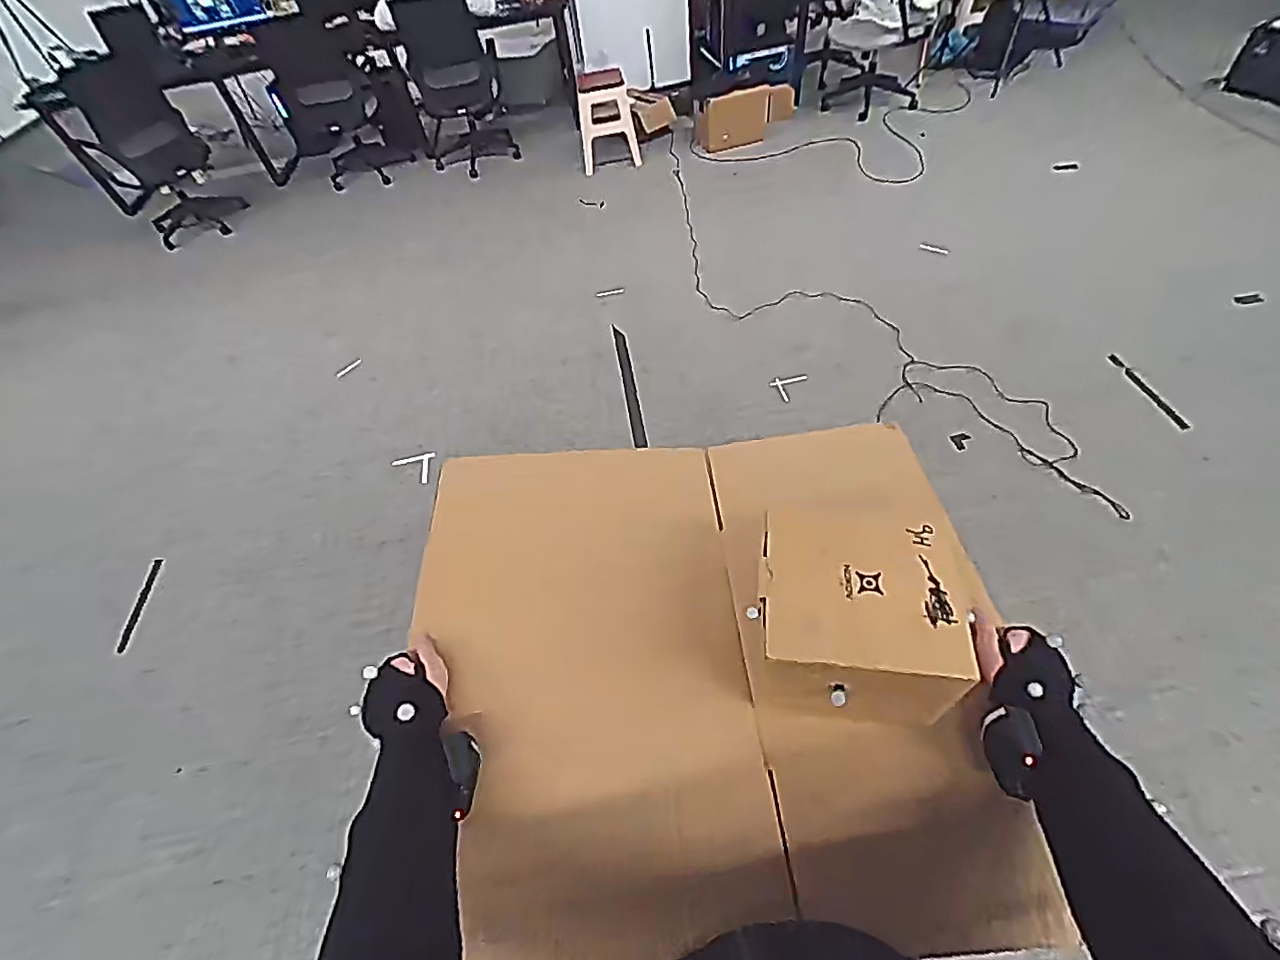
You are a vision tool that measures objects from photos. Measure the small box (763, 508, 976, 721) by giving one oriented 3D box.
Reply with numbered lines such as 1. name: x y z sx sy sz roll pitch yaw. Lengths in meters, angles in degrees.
1. small box: 0.223 0.146 0.578 0.179 0.176 0.168 1 53 13
